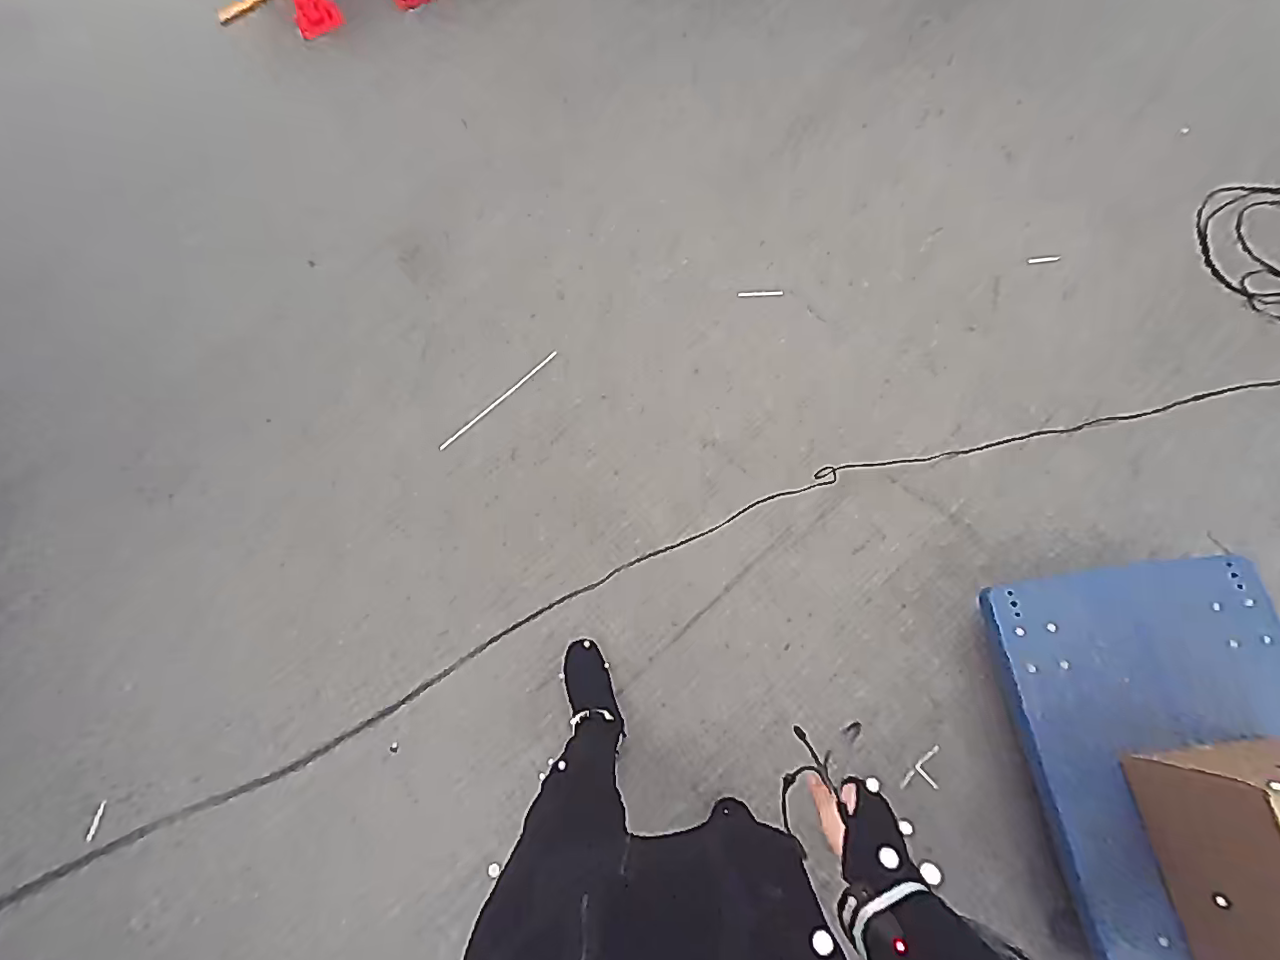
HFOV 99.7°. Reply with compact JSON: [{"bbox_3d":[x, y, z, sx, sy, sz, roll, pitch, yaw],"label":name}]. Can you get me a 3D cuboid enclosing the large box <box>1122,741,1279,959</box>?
[{"bbox_3d":[1.137,0.684,0.892,0.320,0.320,0.408,-8,70,3],"label":"large box"}]
